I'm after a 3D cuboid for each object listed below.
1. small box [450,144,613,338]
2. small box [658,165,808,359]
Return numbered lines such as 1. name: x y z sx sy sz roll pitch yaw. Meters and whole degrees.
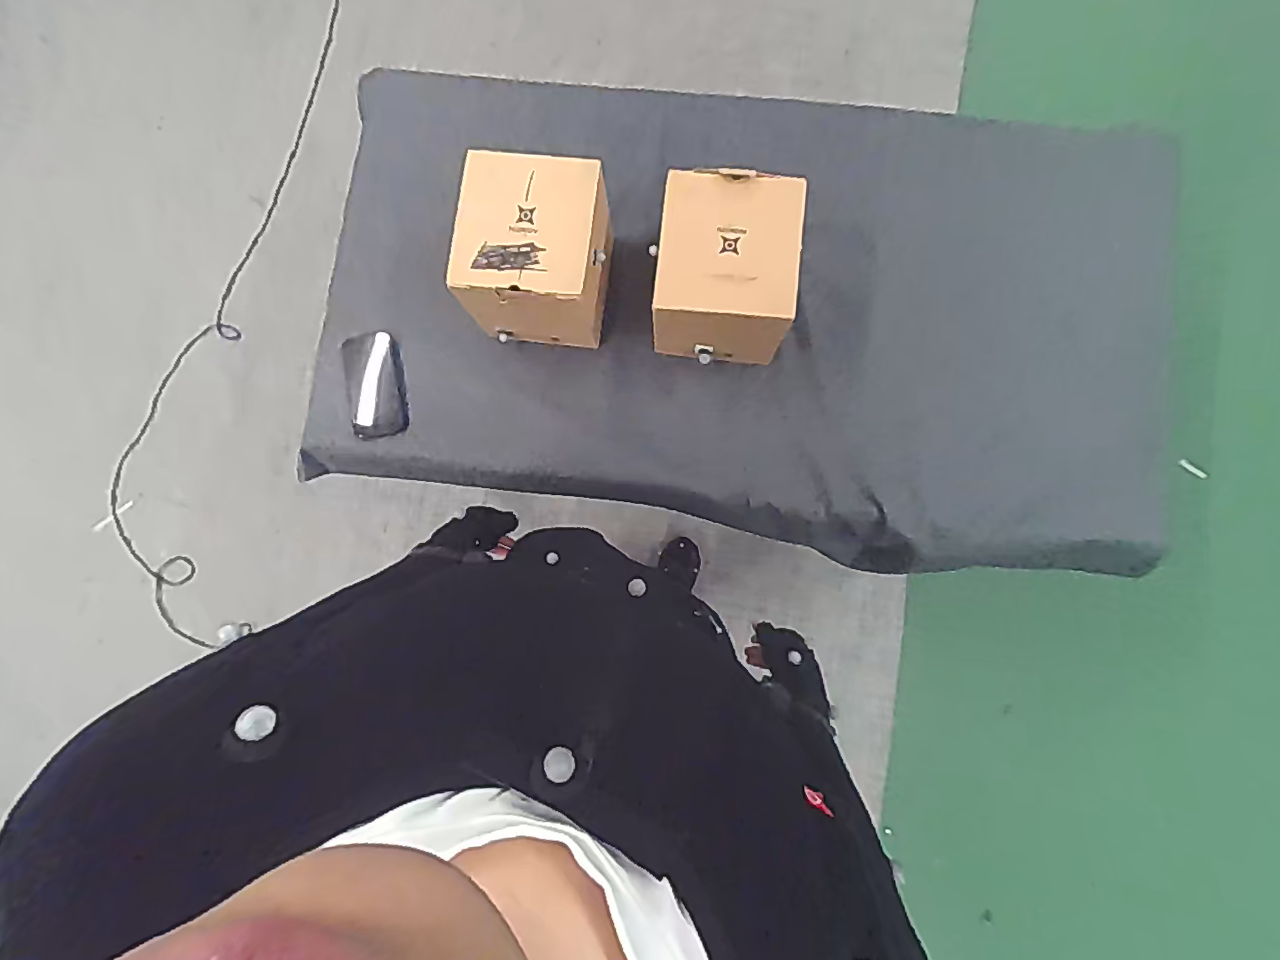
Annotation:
1. small box: -0.131 -0.305 0.722 0.168 0.176 0.179 7 83 3
2. small box: 0.113 -0.276 0.713 0.168 0.176 0.179 5 85 4
